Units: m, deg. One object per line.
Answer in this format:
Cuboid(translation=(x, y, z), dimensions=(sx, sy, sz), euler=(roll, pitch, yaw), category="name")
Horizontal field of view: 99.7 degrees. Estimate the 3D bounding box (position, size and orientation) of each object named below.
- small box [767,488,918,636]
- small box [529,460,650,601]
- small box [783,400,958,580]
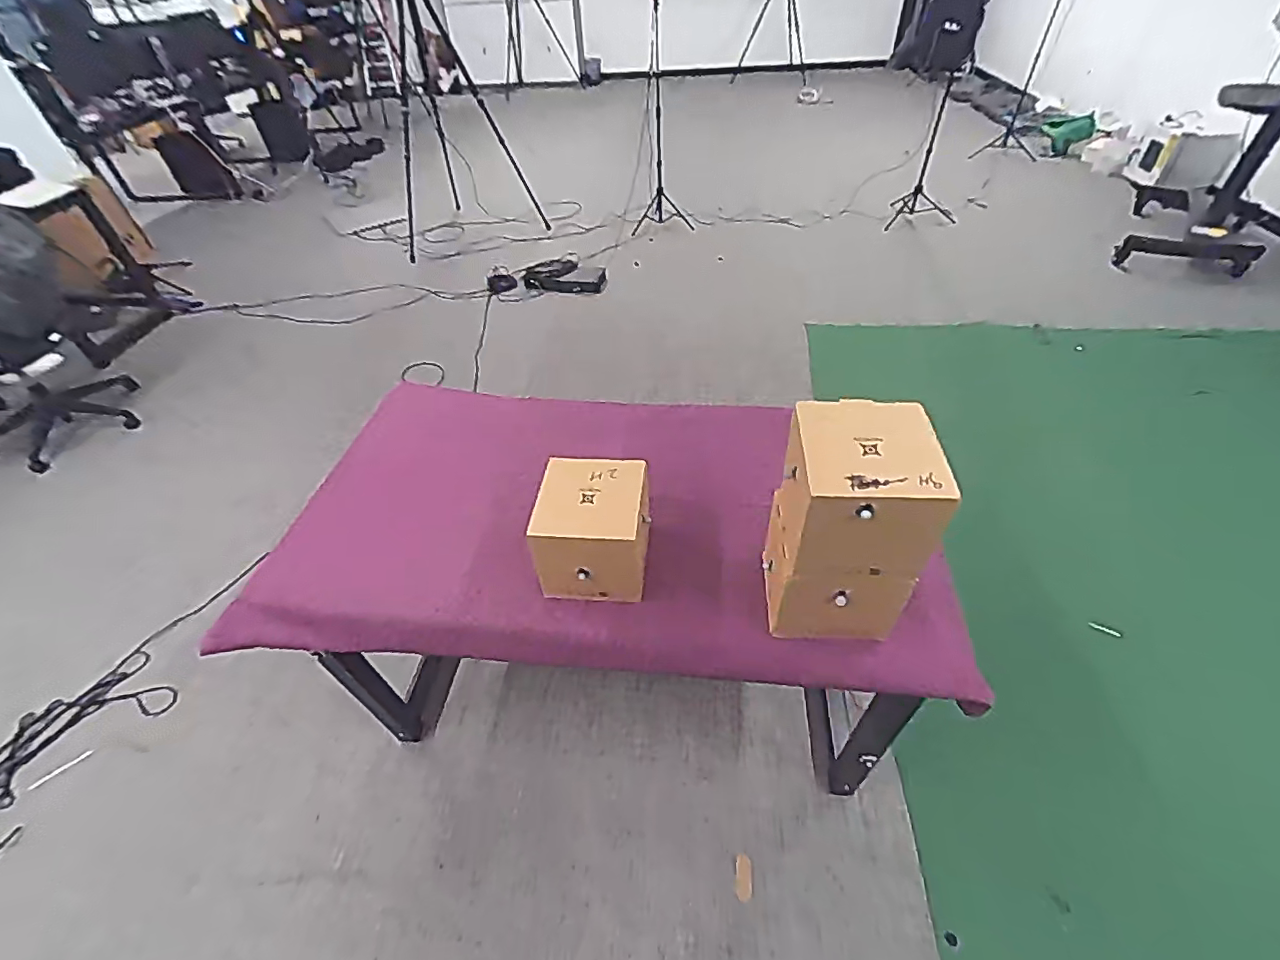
Cuboid(translation=(0.298, 0.128, 0.839), dimensions=(0.179, 0.176, 0.168), euler=(-1, 46, 7), category="small box")
Cuboid(translation=(-0.073, 0.086, 0.915), dimensions=(0.168, 0.176, 0.179), euler=(2, 44, 7), category="small box")
Cuboid(translation=(0.288, 0.012, 0.723), dimensions=(0.168, 0.176, 0.179), euler=(-1, 45, 8), category="small box")
